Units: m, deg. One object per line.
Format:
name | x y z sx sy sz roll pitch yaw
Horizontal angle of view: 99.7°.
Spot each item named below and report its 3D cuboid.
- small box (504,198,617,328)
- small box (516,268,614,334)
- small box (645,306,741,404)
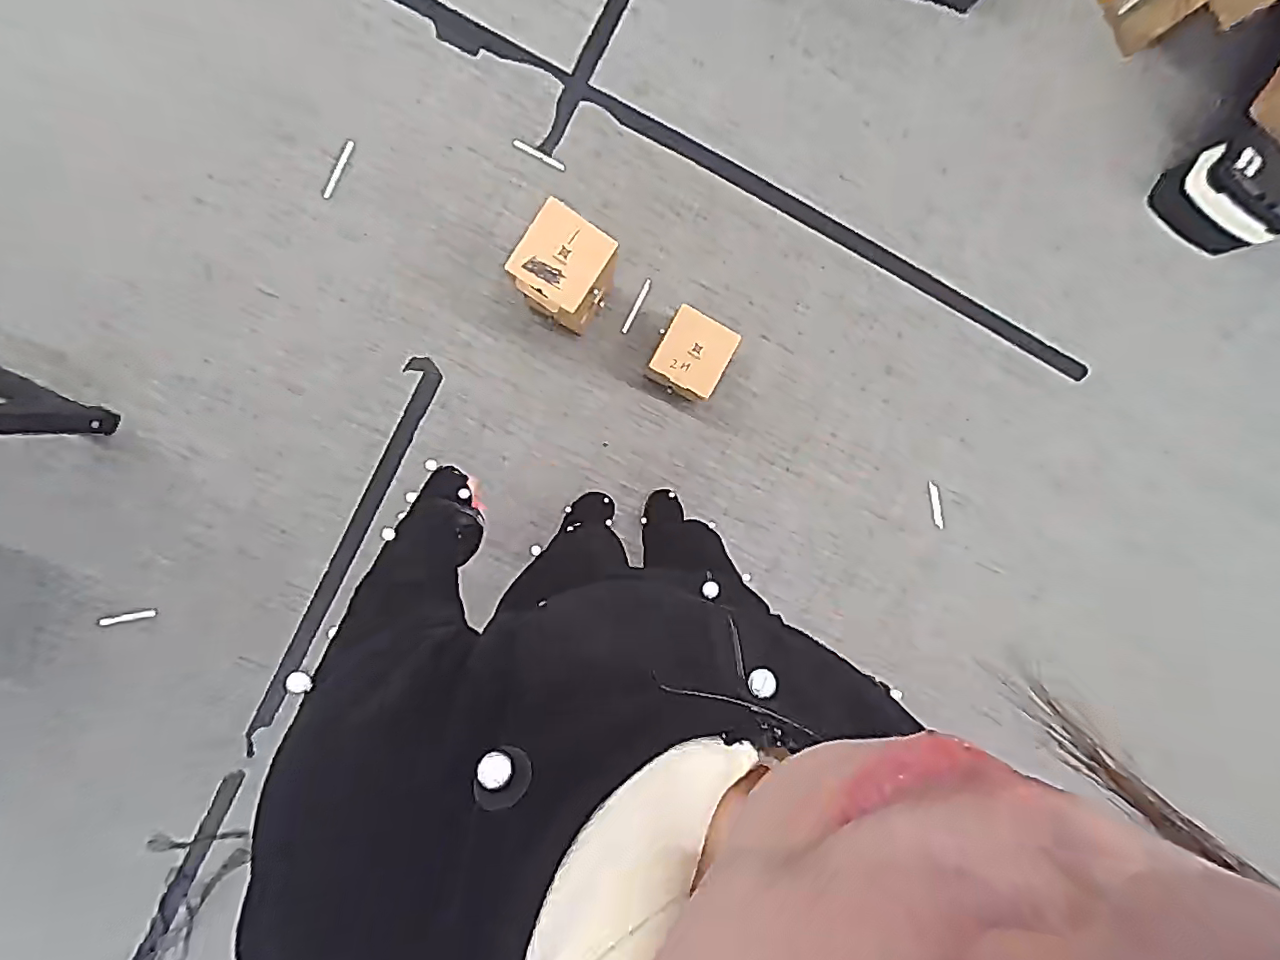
small box | -0.164 -0.450 1.158 0.168 0.176 0.179 33 91 -8
small box | -0.180 -0.473 1.321 0.179 0.176 0.168 29 92 -8
small box | 0.124 -0.307 1.364 0.168 0.176 0.179 29 93 -7
